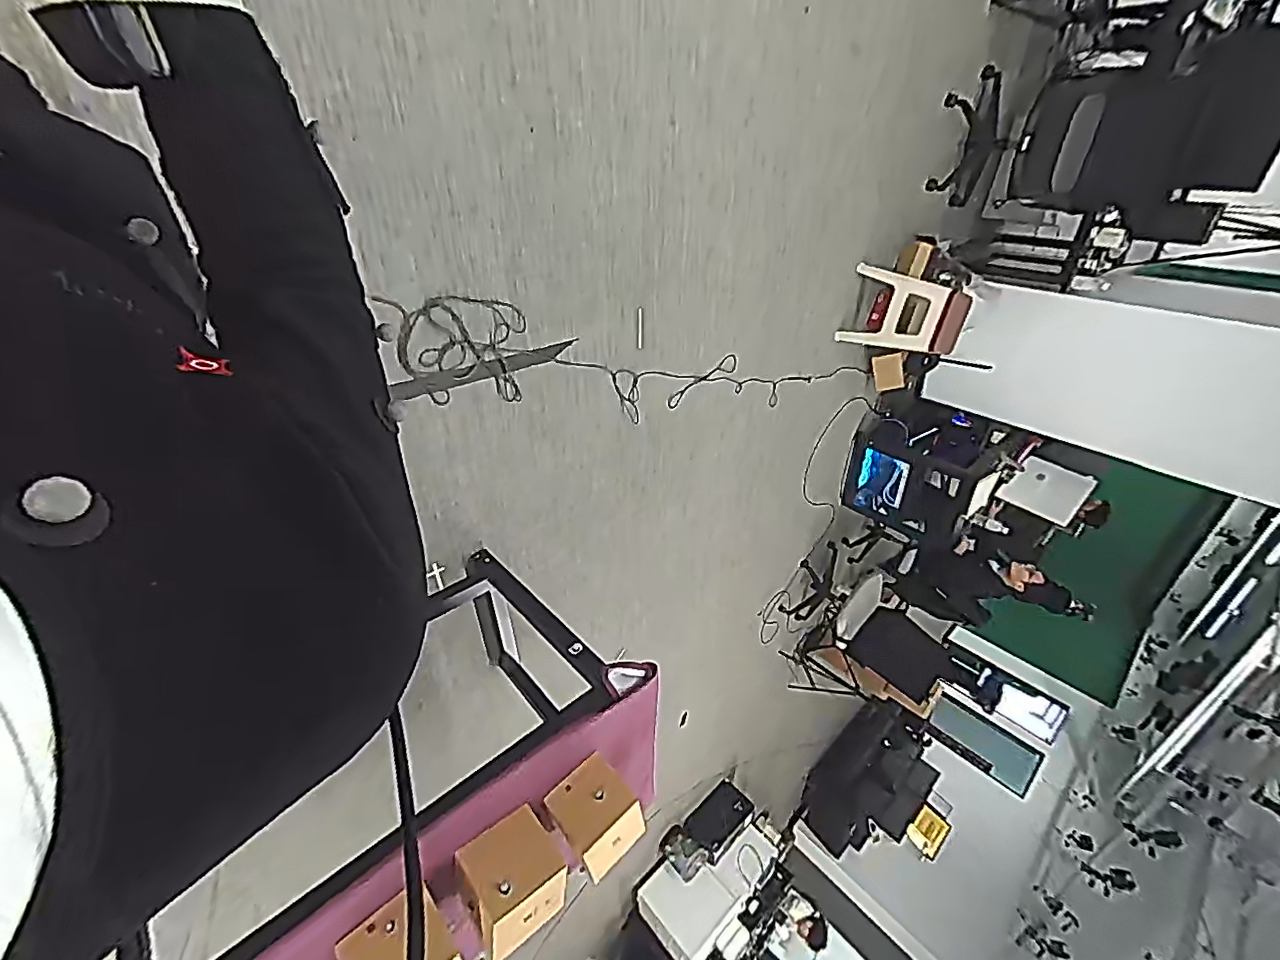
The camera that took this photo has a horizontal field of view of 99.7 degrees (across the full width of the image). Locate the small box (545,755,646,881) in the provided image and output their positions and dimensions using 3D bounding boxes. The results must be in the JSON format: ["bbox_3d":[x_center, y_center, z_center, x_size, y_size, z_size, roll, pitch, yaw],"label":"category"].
[{"bbox_3d":[-0.108,0.805,1.308,0.168,0.176,0.179,-33,133,-29],"label":"small box"}]
